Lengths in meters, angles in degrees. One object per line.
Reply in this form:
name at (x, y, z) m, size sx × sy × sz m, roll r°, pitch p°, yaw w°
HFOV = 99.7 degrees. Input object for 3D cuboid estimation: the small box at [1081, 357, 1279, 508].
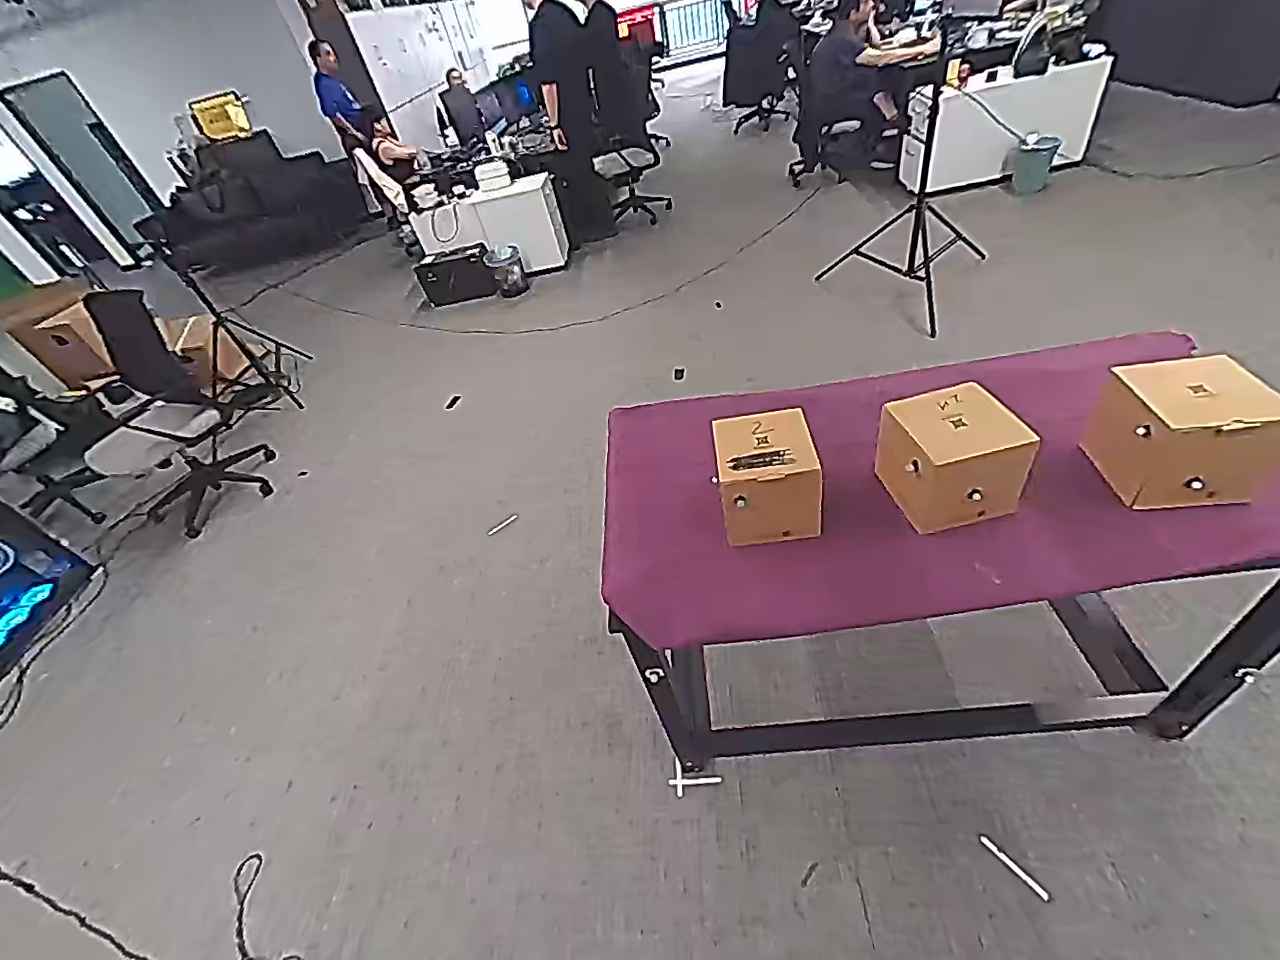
small box at (0.870, -0.076, 0.881) m, size 0.168 × 0.176 × 0.179 m, roll -5°, pitch 41°, yaw 12°

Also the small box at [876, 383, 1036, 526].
small box at (0.533, -0.038, 0.941) m, size 0.168 × 0.176 × 0.179 m, roll -14°, pitch 41°, yaw 1°
